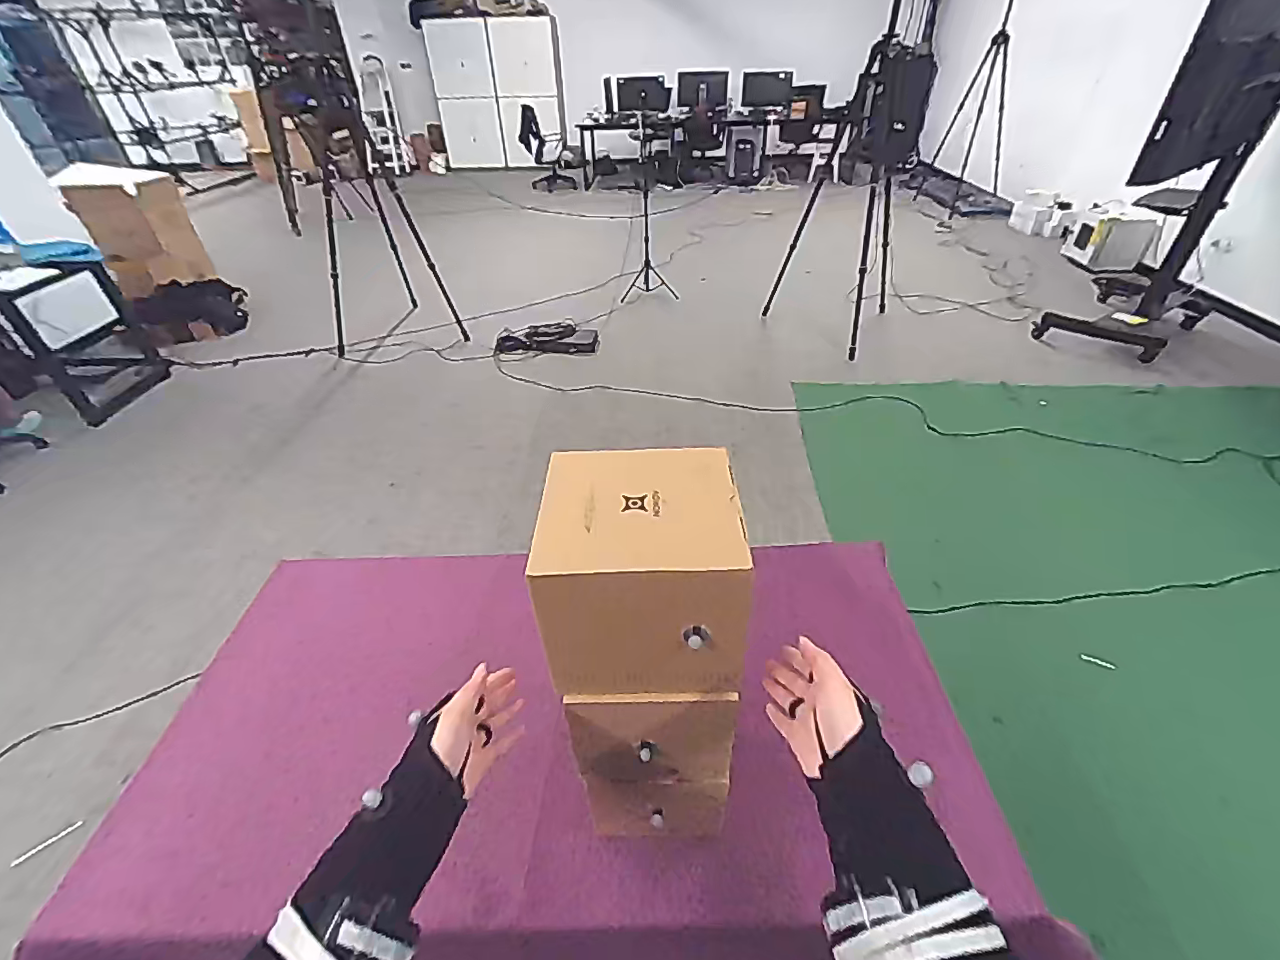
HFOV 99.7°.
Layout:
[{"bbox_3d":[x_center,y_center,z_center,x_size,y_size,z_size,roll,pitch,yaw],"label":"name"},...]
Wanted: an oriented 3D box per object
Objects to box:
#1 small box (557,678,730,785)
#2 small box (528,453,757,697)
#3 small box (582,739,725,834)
[{"bbox_3d":[0.008,0.219,0.613,0.168,0.176,0.179,4,37,2],"label":"small box"},{"bbox_3d":[0.005,0.090,0.519,0.179,0.176,0.168,-1,38,2],"label":"small box"},{"bbox_3d":[0.020,0.349,0.720,0.168,0.176,0.179,0,39,1],"label":"small box"}]
